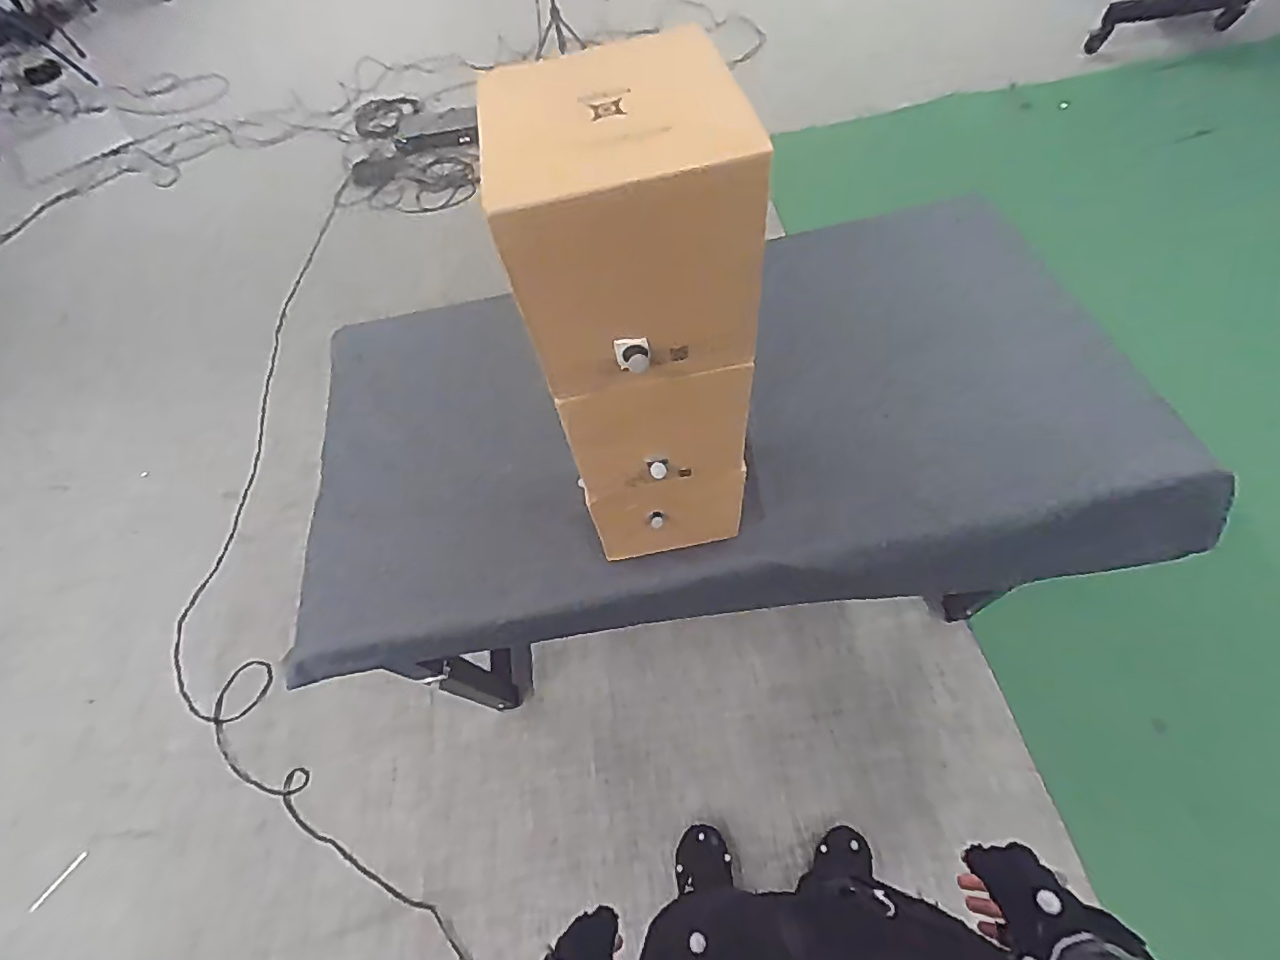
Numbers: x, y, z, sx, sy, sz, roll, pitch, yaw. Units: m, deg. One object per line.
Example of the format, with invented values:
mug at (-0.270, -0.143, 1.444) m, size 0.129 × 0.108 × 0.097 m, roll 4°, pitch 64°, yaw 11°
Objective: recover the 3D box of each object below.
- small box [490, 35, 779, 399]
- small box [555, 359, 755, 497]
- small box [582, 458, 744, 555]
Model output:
small box at (-0.006, -0.190, 0.412) m, size 0.168 × 0.176 × 0.179 m, roll -12°, pitch 59°, yaw 1°
small box at (0.009, -0.107, 0.549) m, size 0.168 × 0.176 × 0.179 m, roll -10°, pitch 59°, yaw 1°
small box at (0.026, -0.018, 0.688) m, size 0.179 × 0.176 × 0.168 m, roll -11°, pitch 59°, yaw 1°
